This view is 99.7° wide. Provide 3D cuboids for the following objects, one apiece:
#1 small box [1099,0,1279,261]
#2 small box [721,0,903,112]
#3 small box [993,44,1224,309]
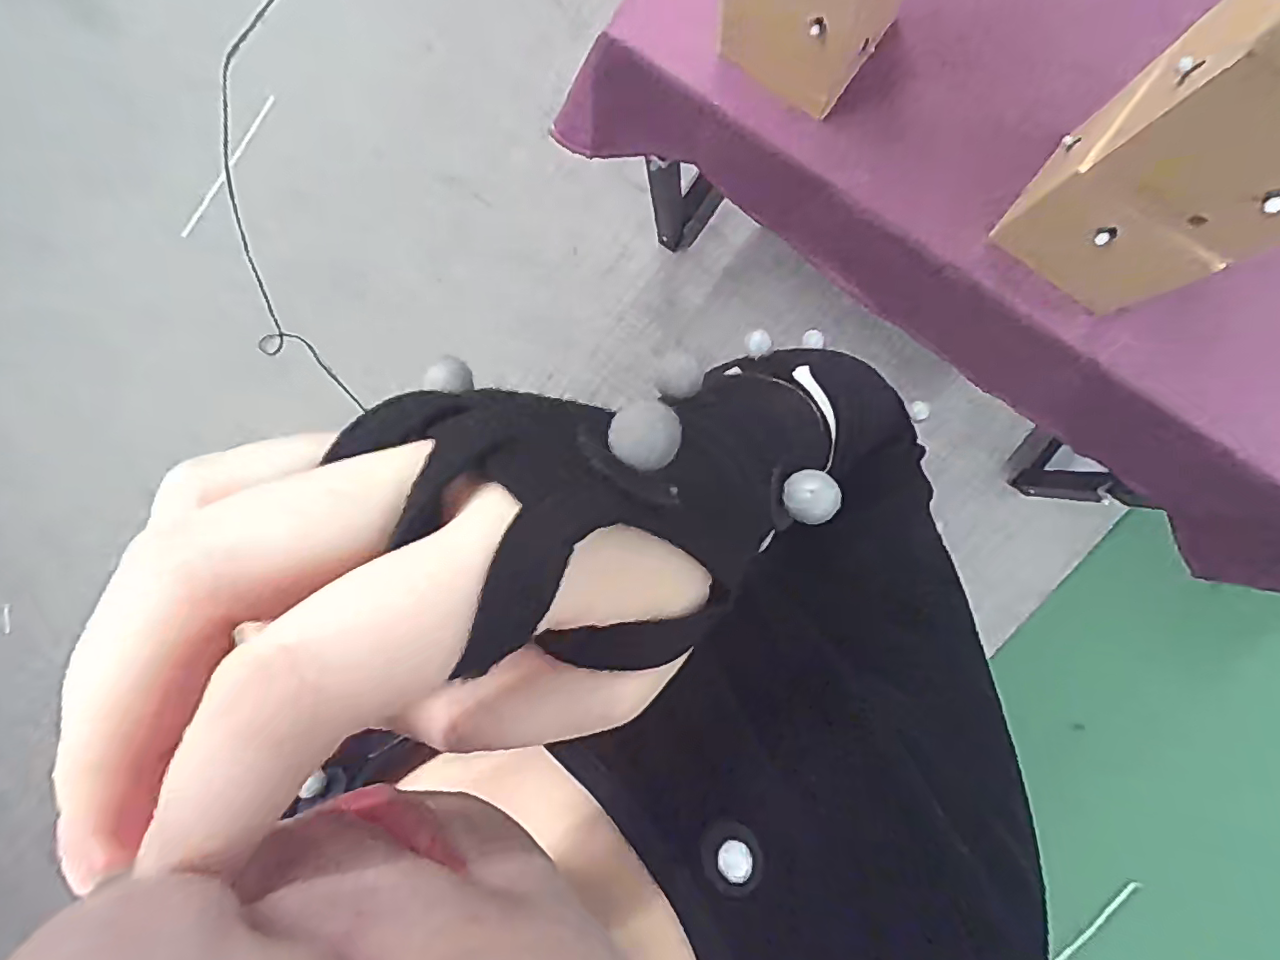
[{"bbox_3d":[0.553,-0.322,0.457,0.168,0.176,0.179,36,94,2],"label":"small box"},{"bbox_3d":[0.212,-0.591,0.640,0.179,0.176,0.168,36,94,1],"label":"small box"},{"bbox_3d":[0.562,-0.324,0.620,0.179,0.176,0.168,38,95,2],"label":"small box"}]
